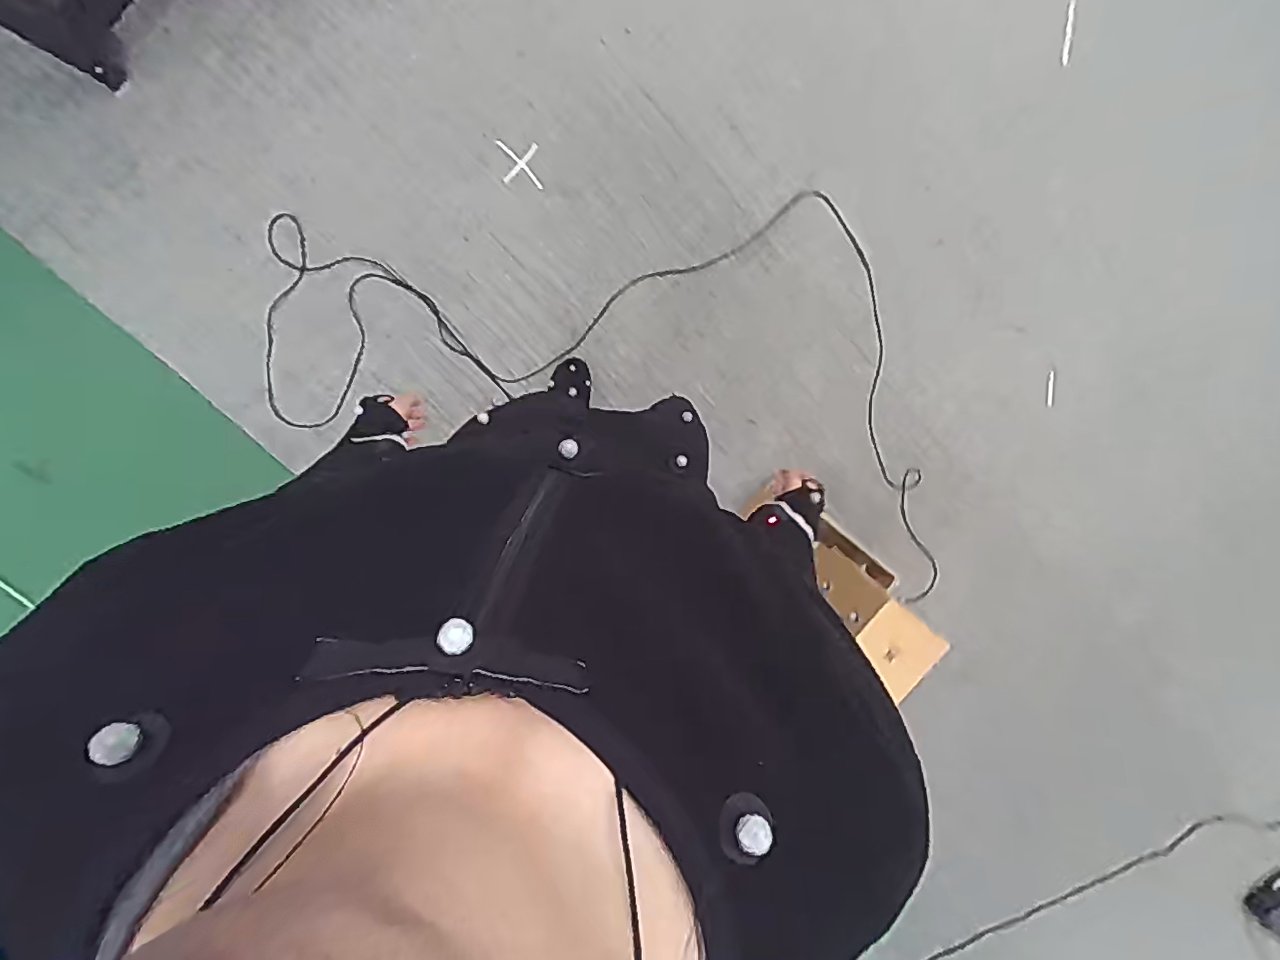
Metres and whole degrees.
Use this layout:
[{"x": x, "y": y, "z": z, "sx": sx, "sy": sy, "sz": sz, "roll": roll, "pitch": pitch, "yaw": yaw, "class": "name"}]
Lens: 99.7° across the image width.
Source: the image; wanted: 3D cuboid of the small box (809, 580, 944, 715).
[{"x": 0.481, "y": 0.344, "z": 1.140, "sx": 0.168, "sy": 0.176, "sz": 0.179, "roll": 38, "pitch": 96, "yaw": -7, "class": "small box"}]

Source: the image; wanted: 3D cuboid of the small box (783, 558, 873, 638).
[{"x": 0.475, "y": 0.316, "z": 1.300, "sx": 0.168, "sy": 0.176, "sz": 0.179, "roll": 43, "pitch": 97, "yaw": -8, "class": "small box"}]
